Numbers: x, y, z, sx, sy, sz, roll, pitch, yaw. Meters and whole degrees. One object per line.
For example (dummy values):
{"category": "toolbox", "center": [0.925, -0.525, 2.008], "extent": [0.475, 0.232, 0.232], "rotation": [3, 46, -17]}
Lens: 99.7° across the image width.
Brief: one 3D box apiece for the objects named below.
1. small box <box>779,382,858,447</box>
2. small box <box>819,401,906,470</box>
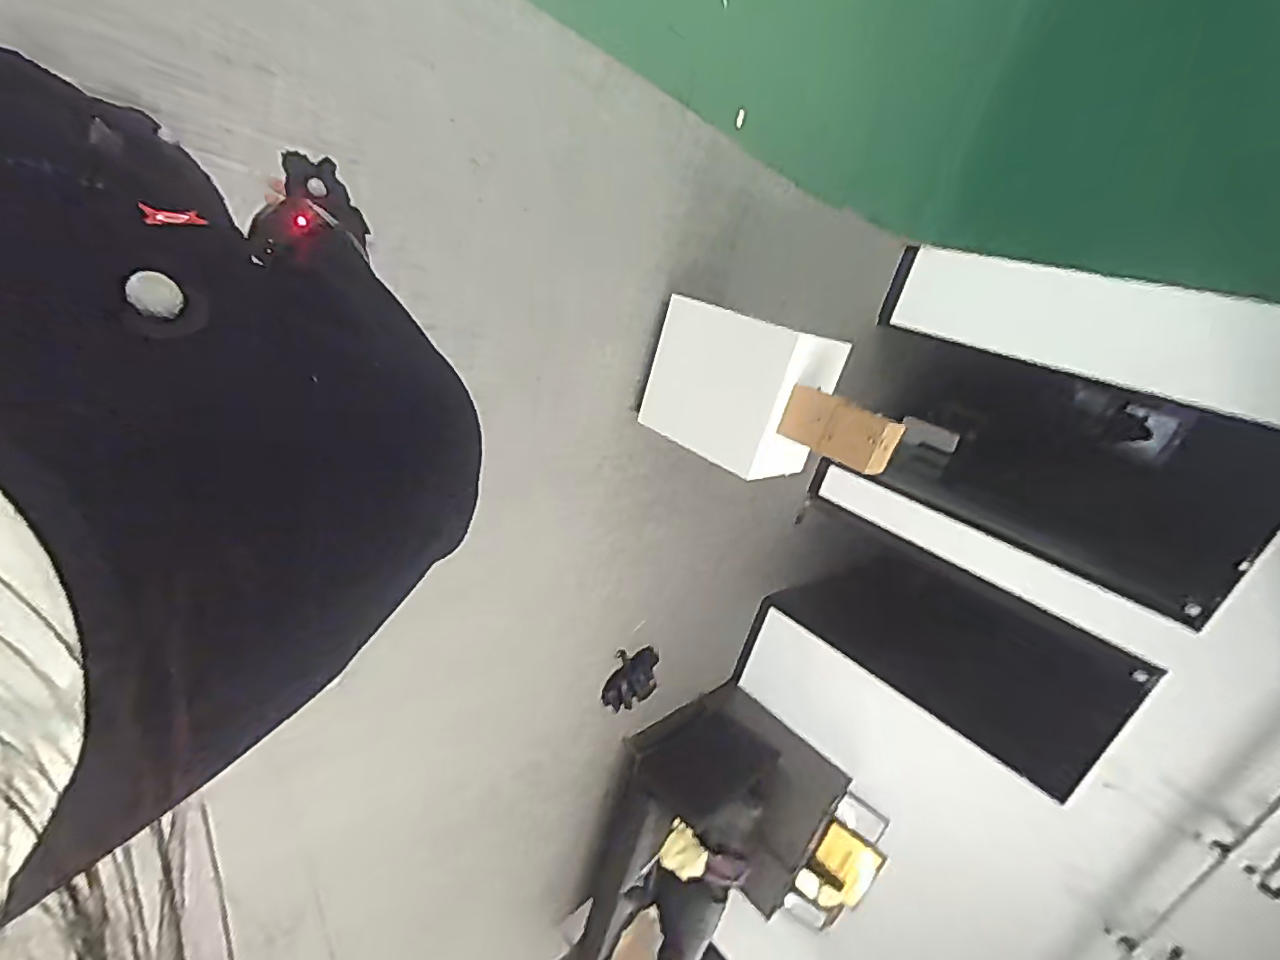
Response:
{"category": "small box", "center": [0.594, -0.220, 1.814], "extent": [0.168, 0.176, 0.179], "rotation": [-6, 119, -47]}
{"category": "small box", "center": [0.705, -0.146, 1.723], "extent": [0.179, 0.176, 0.168], "rotation": [-7, 122, -46]}
